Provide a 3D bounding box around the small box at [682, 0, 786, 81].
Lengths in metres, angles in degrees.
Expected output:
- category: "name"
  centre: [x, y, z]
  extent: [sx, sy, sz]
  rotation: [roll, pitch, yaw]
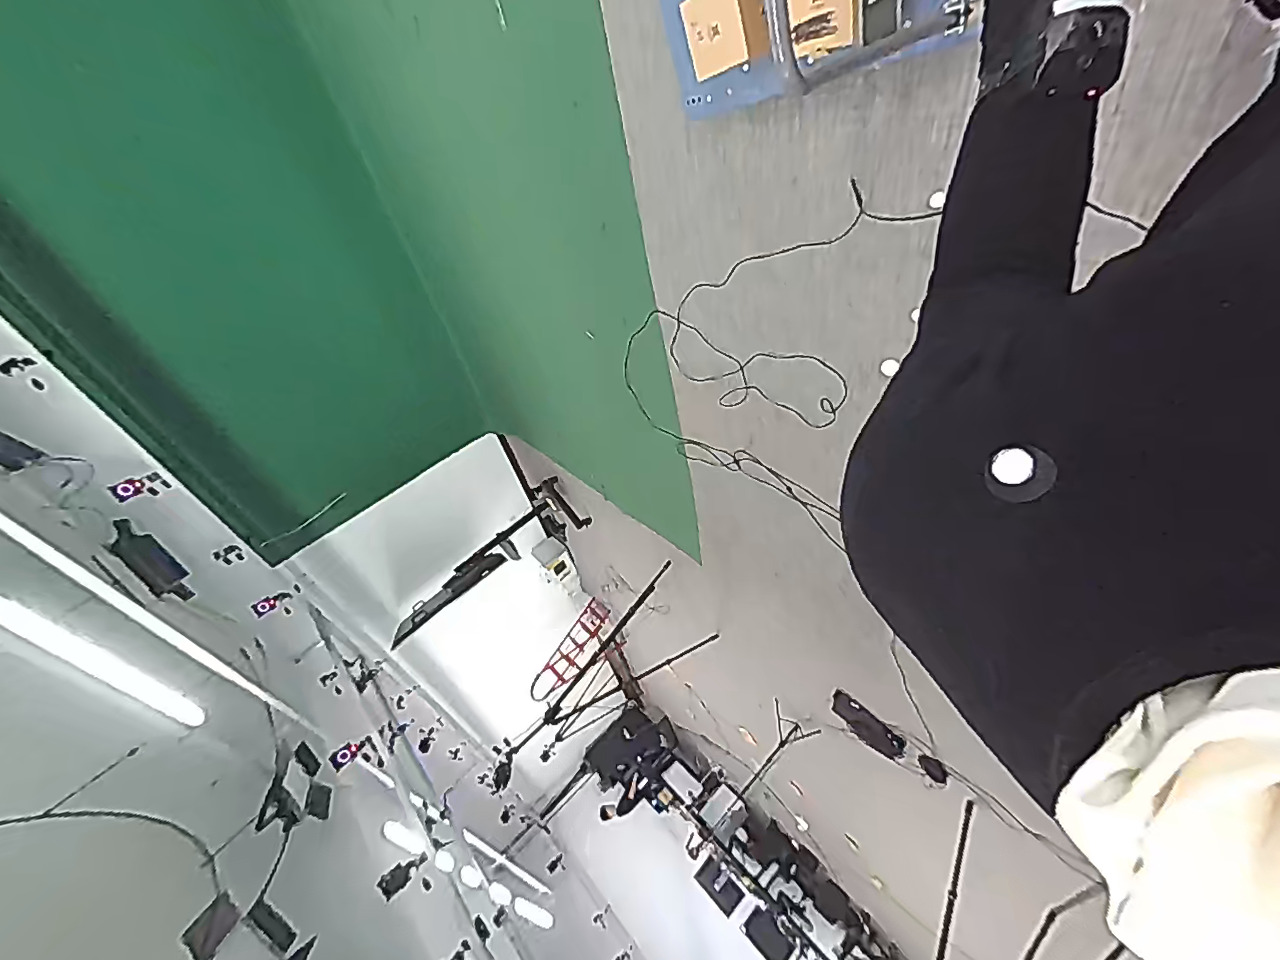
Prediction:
- category: "small box"
  centre: [0.237, -1.116, 1.320]
  extent: [0.179, 0.176, 0.168]
  rotation: [21, 141, 49]
